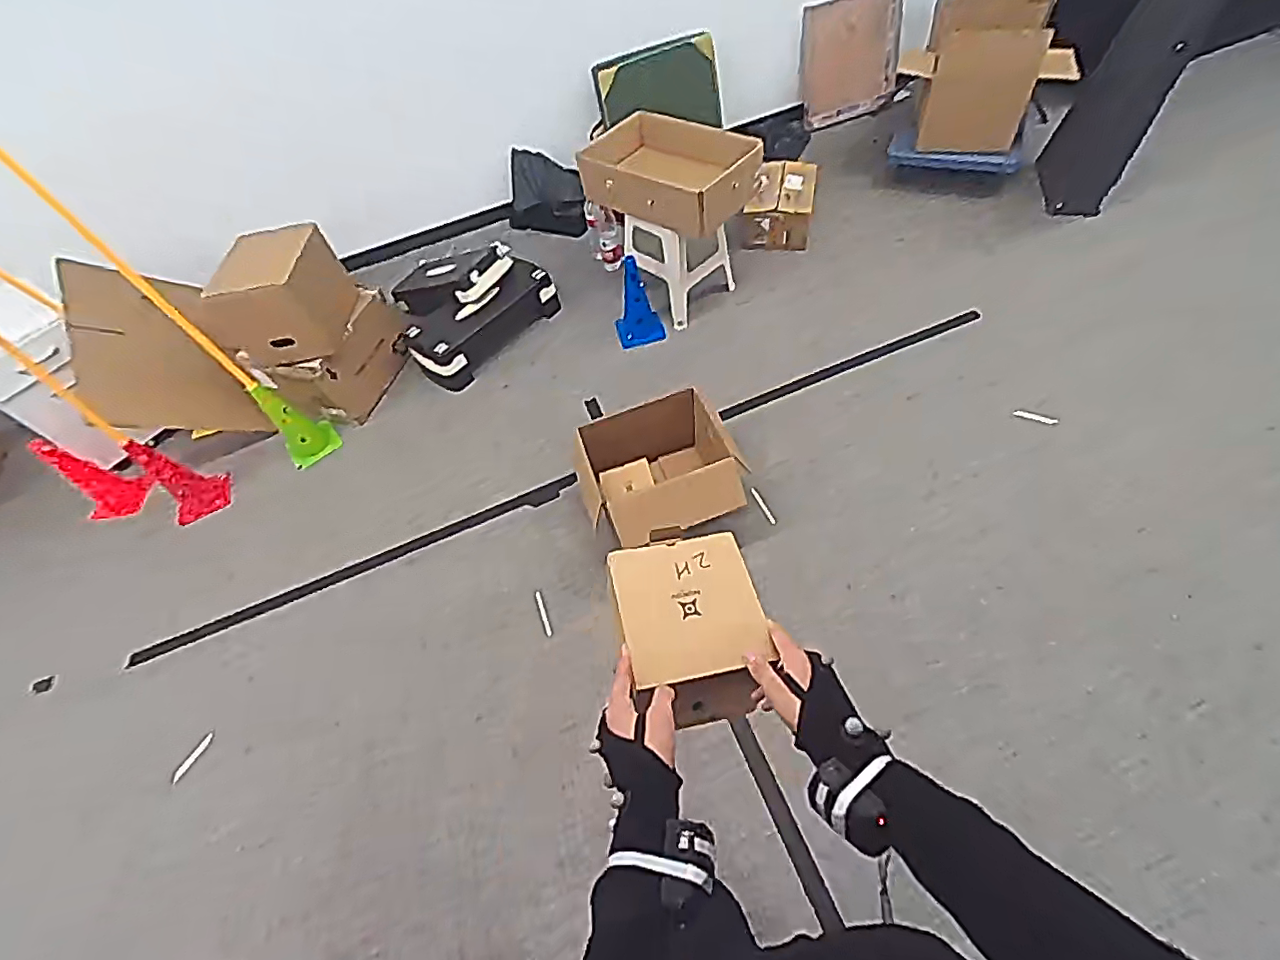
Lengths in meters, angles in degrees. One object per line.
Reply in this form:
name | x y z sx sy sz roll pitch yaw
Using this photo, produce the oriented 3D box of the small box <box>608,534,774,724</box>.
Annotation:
small box | 0.054 0.198 0.703 0.168 0.176 0.179 -8 49 -9
